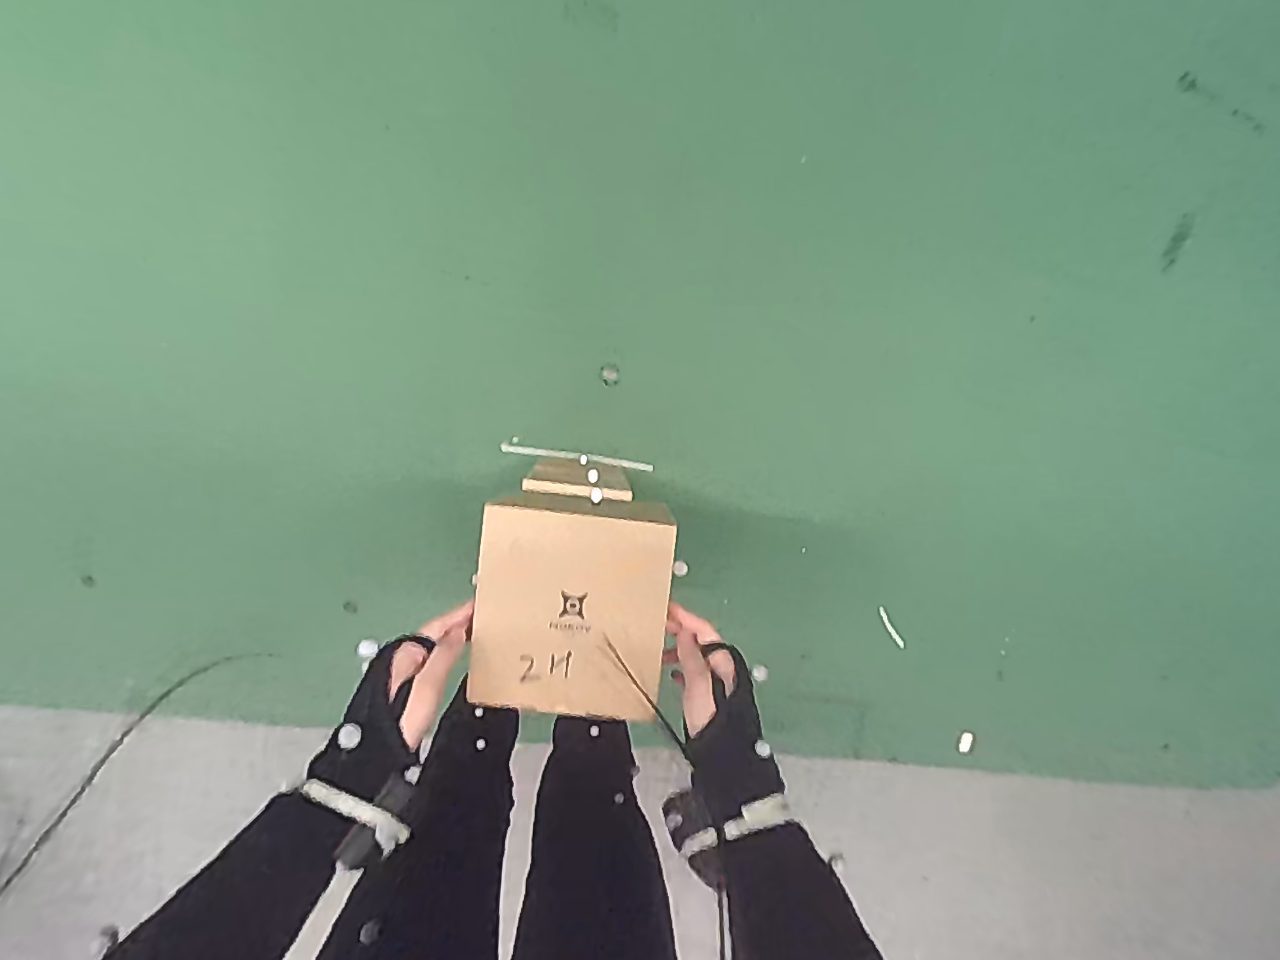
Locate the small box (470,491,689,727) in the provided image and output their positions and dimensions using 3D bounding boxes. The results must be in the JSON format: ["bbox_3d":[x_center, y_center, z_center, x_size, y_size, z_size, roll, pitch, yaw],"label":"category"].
[{"bbox_3d":[-0.051,0.107,0.524,0.168,0.176,0.179,7,93,0],"label":"small box"}]

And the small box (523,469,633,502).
[{"bbox_3d":[-0.113,0.083,0.890,0.168,0.176,0.179,8,97,-8],"label":"small box"}]
